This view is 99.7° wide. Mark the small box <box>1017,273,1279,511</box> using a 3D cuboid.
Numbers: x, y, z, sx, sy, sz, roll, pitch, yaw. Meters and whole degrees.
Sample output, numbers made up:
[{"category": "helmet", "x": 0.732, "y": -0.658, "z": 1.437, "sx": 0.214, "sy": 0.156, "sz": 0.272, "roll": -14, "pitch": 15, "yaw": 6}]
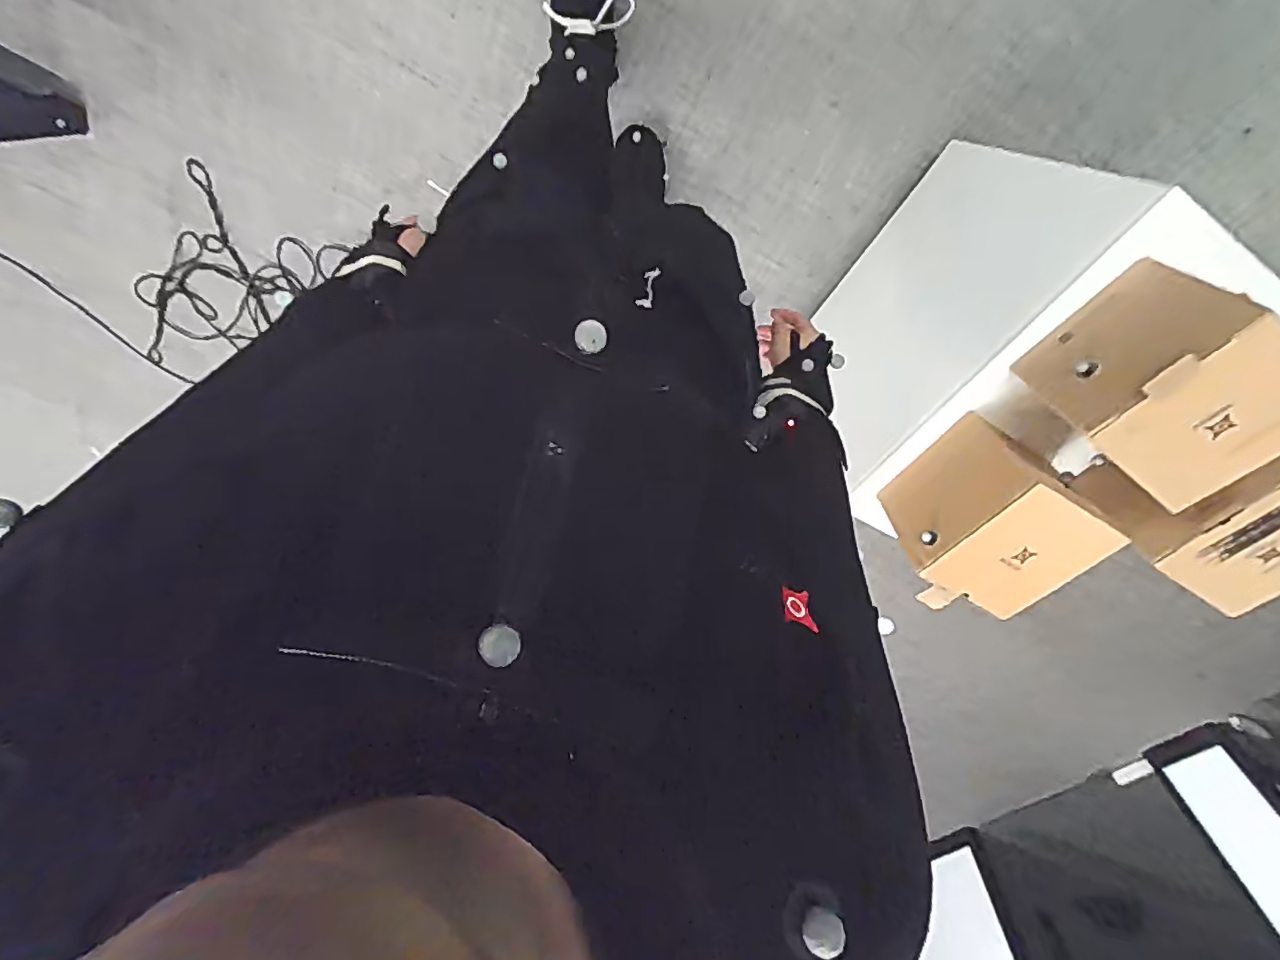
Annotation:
[{"category": "small box", "x": 0.573, "y": -0.104, "z": 0.599, "sx": 0.179, "sy": 0.176, "sz": 0.168, "roll": 28, "pitch": 124, "yaw": -19}]
